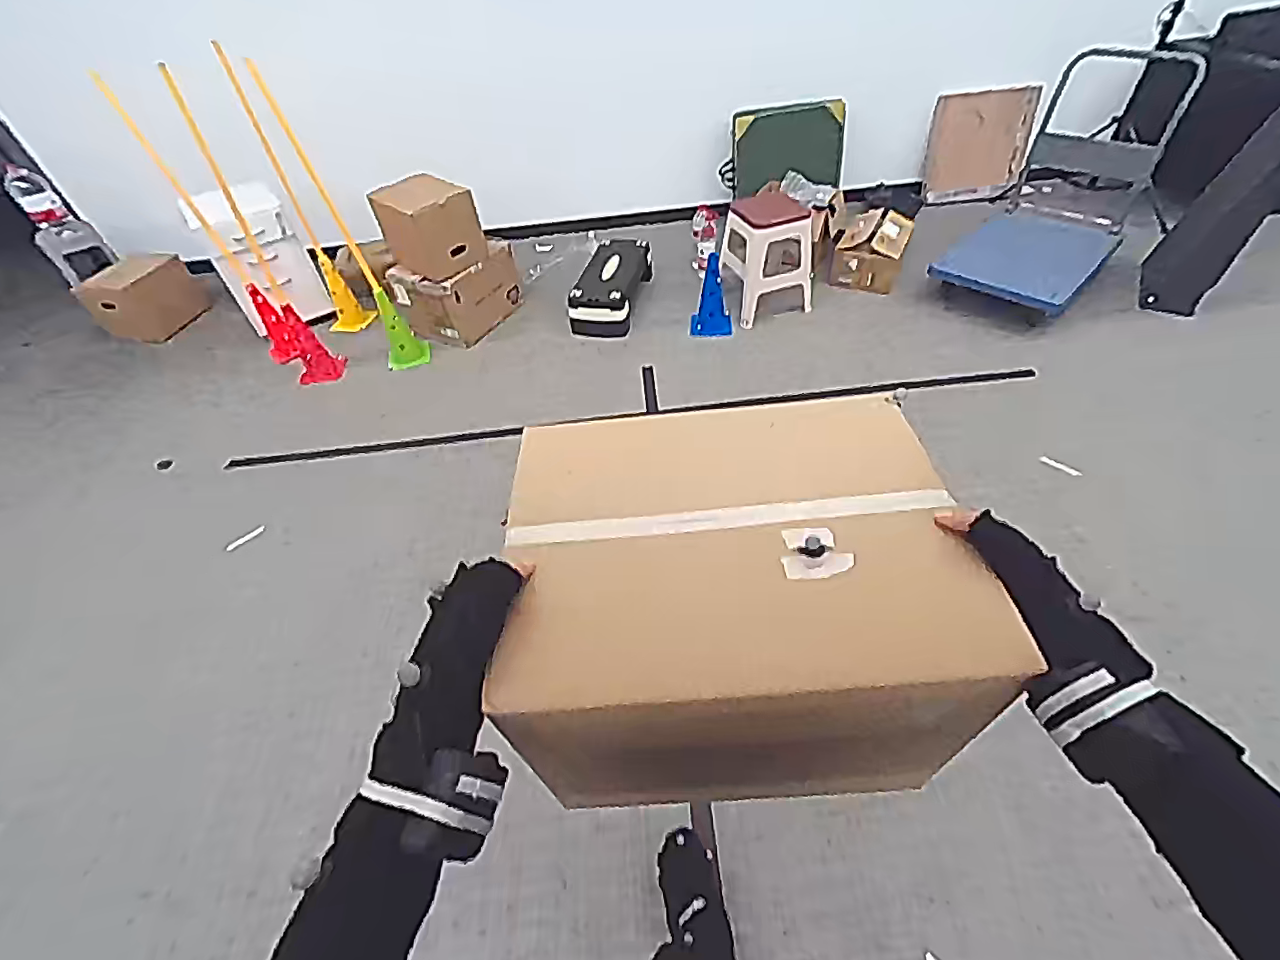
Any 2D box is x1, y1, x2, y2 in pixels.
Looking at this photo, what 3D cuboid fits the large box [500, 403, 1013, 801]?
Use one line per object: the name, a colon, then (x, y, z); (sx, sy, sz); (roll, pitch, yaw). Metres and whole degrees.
large box: (0.091, 0.144, 0.620); (0.408, 0.320, 0.320); (-5, 47, 2)
